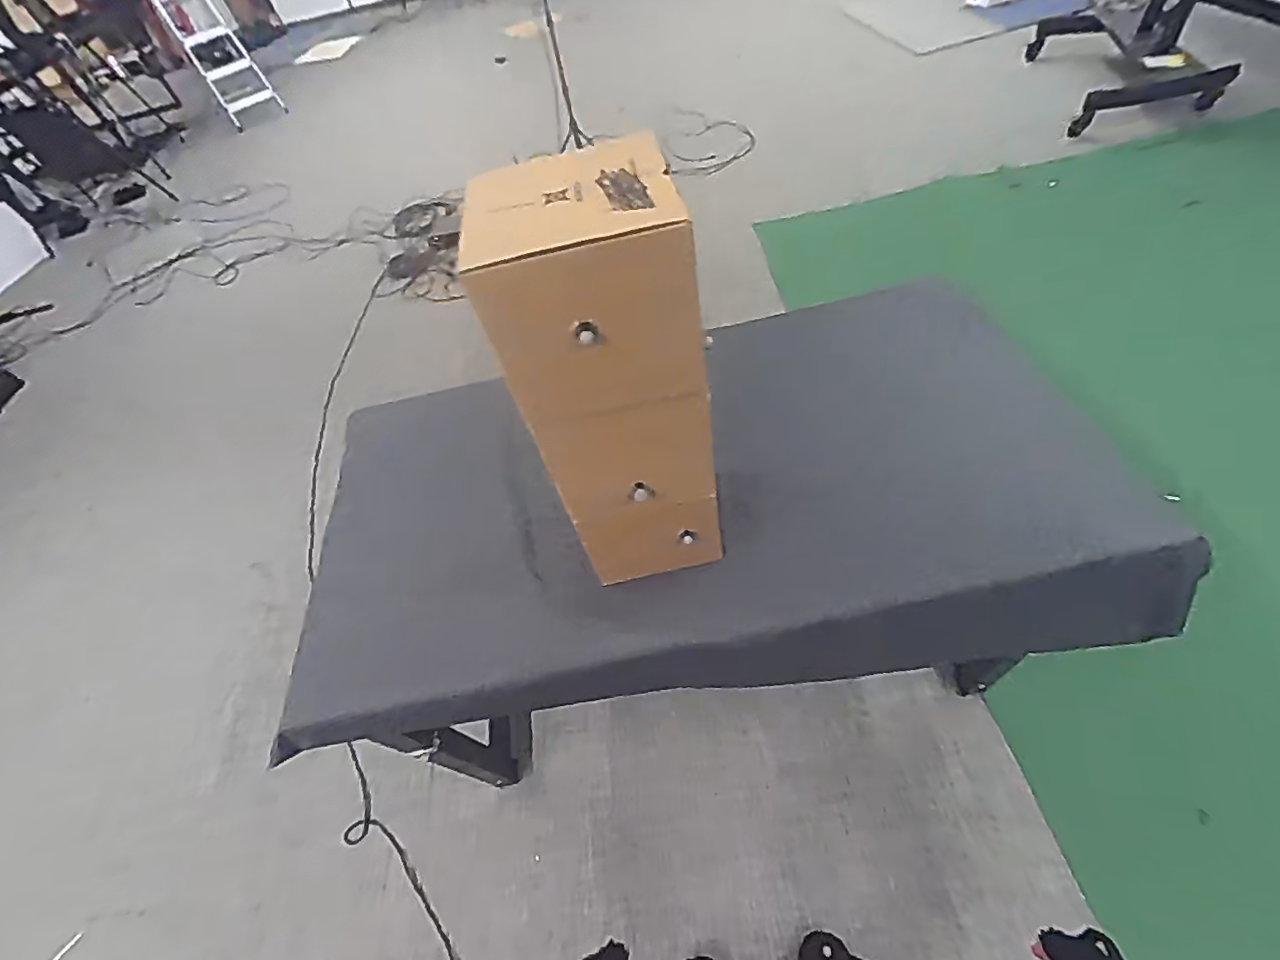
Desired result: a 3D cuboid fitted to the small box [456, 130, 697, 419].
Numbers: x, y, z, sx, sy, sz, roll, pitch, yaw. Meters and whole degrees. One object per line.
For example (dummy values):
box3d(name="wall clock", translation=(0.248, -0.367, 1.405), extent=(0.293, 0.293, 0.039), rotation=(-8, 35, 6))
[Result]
box3d(name="small box", translation=(-0.047, -0.182, 0.499), extent=(0.179, 0.176, 0.168), rotation=(-12, 52, 3))

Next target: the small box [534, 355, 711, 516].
box3d(name="small box", translation=(-0.020, -0.082, 0.630), extent=(0.179, 0.176, 0.168), rotation=(-15, 53, 1))

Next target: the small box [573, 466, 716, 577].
box3d(name="small box", translation=(0.006, 0.014, 0.758), extent=(0.179, 0.176, 0.168), rotation=(-14, 52, 3))
